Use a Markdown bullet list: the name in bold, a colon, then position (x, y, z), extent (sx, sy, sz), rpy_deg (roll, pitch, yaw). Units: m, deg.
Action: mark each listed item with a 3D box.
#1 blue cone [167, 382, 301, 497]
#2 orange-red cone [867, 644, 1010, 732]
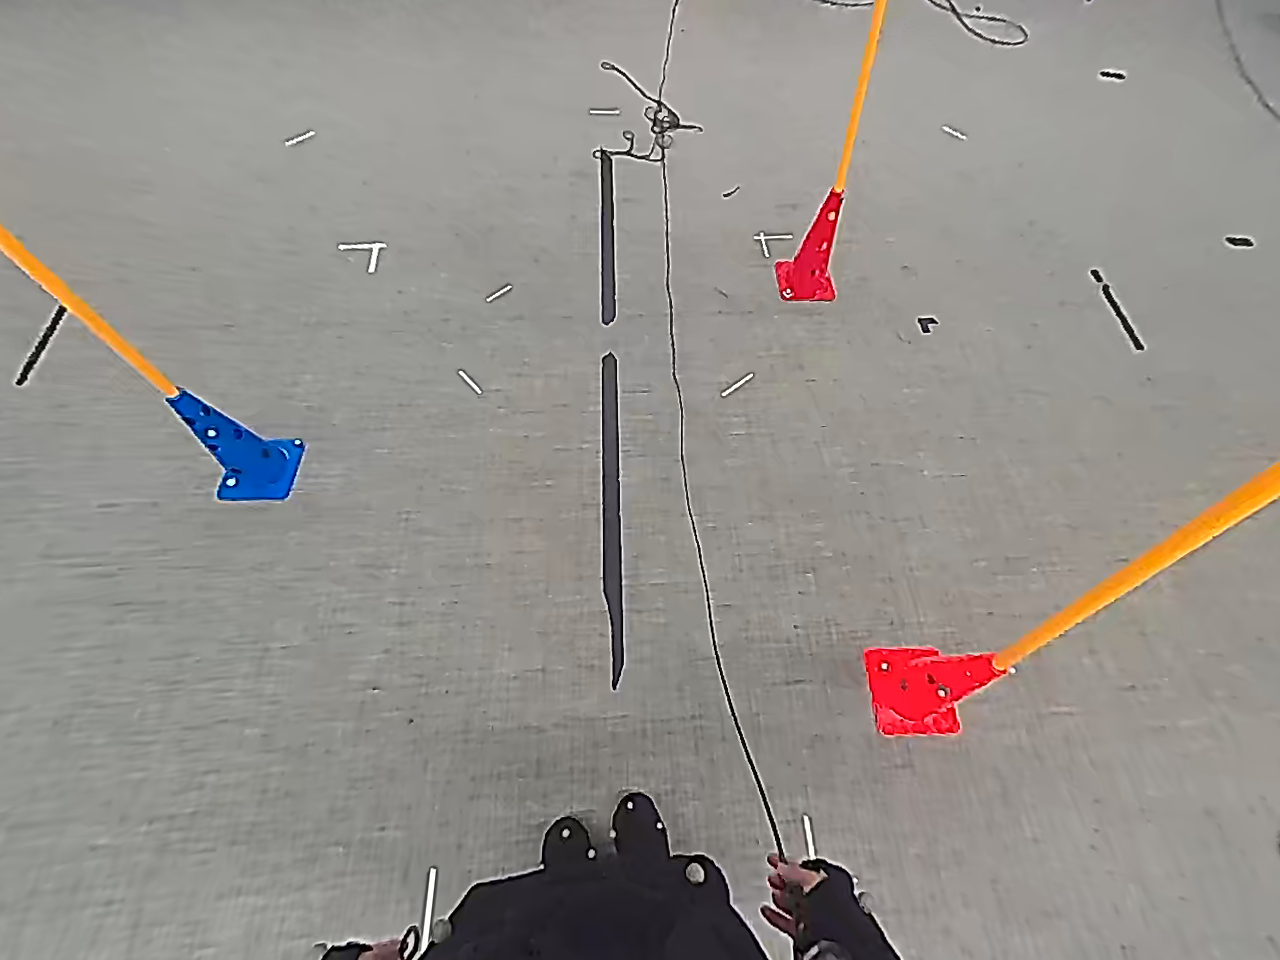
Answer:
- **blue cone**: position (-1.087, -0.116, 1.415), extent (0.193, 0.380, 0.192), rpy_deg (1, 61, -1)
- **orange-red cone**: position (0.661, 0.418, 1.151), extent (0.198, 0.360, 0.199), rpy_deg (1, 62, -1)
